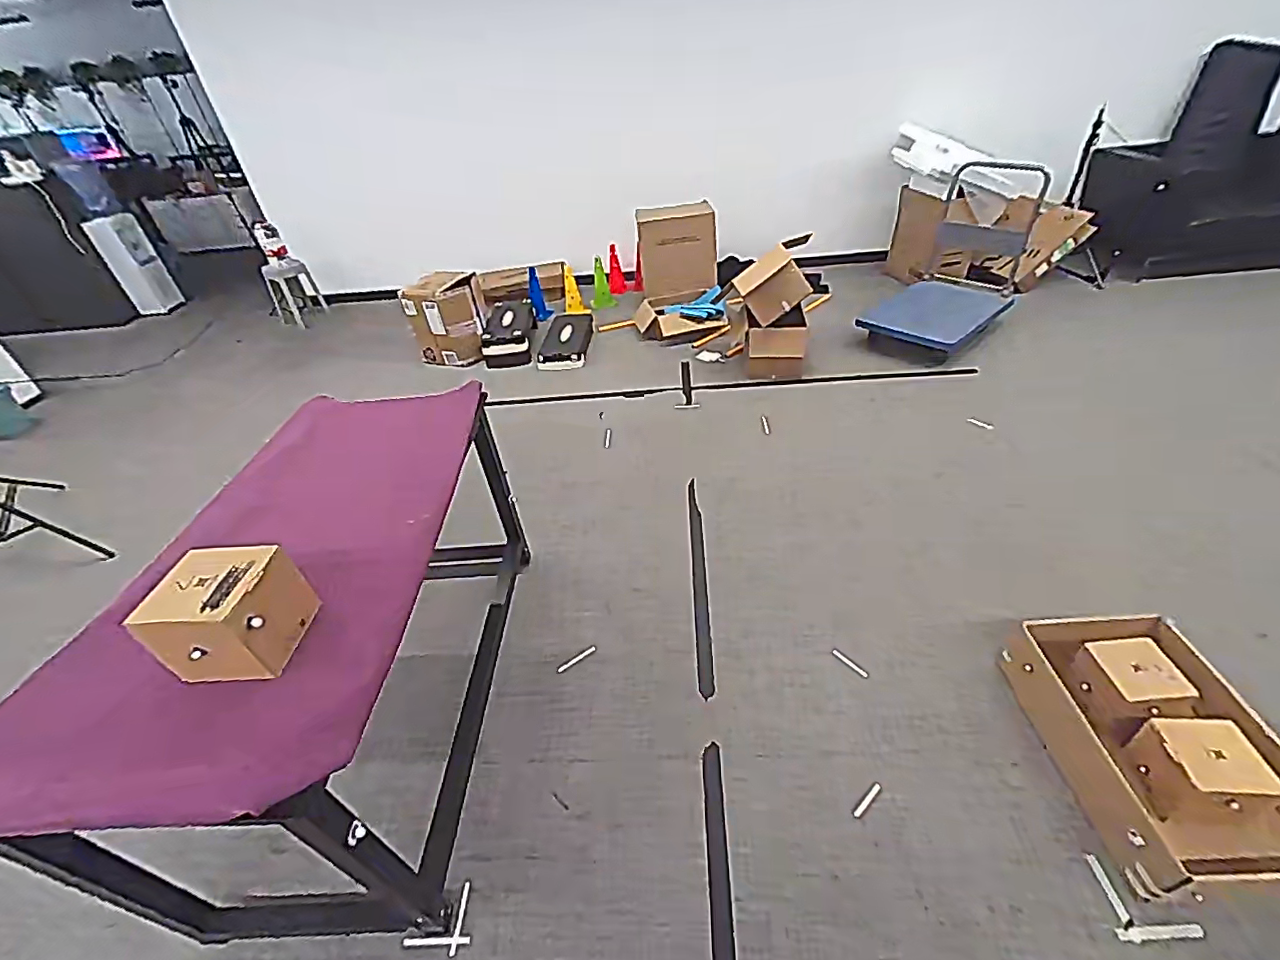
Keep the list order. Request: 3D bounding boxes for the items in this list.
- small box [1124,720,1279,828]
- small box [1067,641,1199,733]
[{"bbox_3d":[1.290,0.680,1.247,0.179,0.176,0.168,-1,38,7],"label":"small box"},{"bbox_3d":[1.271,0.544,1.416,0.179,0.176,0.168,-5,40,2],"label":"small box"}]
